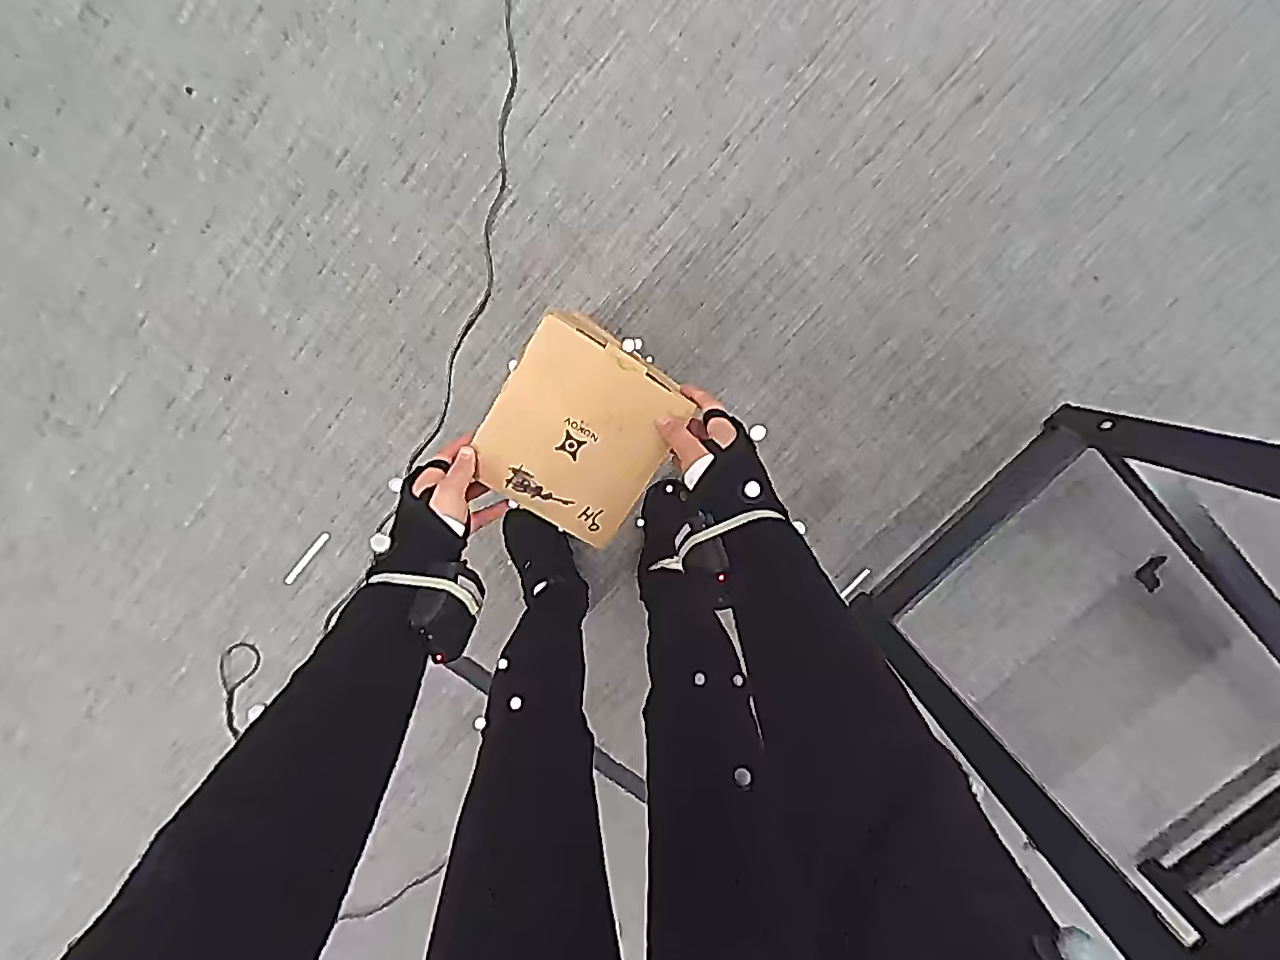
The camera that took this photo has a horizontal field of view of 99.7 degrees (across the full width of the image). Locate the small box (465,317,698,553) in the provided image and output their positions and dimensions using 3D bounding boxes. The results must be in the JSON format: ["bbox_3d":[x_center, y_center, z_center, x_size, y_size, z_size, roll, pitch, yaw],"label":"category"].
[{"bbox_3d":[-0.062,-0.057,0.594,0.168,0.176,0.179,32,101,-10],"label":"small box"}]

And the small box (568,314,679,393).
[{"bbox_3d":[-0.068,-0.107,0.752,0.168,0.176,0.179,33,100,-12],"label":"small box"}]
